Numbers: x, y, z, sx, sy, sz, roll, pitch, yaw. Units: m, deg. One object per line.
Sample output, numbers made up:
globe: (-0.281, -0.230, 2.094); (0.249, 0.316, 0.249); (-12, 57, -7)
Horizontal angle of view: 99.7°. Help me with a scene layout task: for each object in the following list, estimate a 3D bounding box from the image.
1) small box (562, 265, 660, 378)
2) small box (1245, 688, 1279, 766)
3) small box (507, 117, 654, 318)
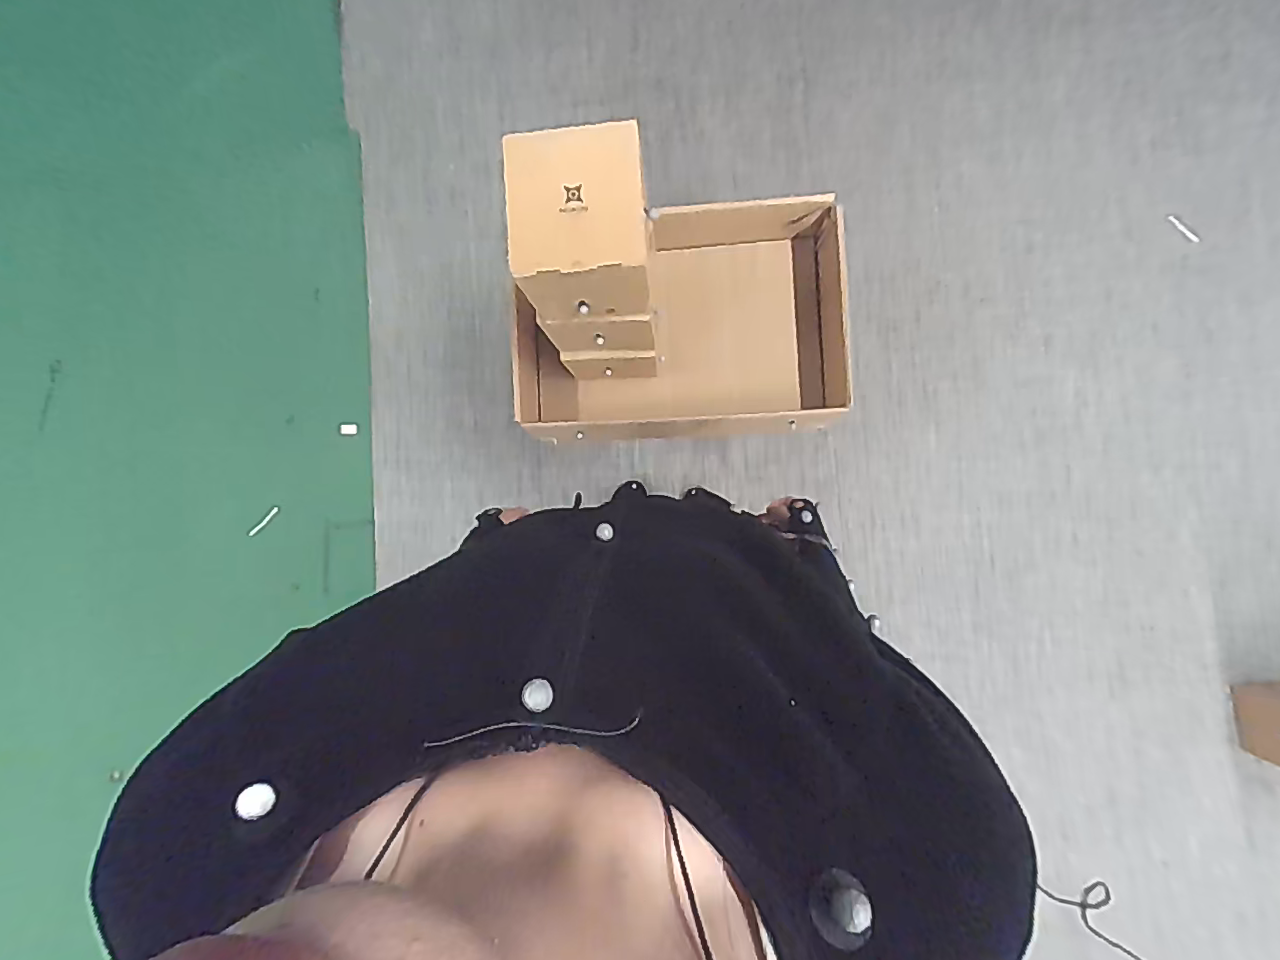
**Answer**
small box: (-0.049, -0.297, 1.041); (0.179, 0.176, 0.168); (-1, 87, 4)
small box: (1.615, 0.603, 1.288); (0.168, 0.176, 0.179); (-5, 87, 5)
small box: (-0.070, -0.333, 0.716); (0.168, 0.176, 0.179); (-4, 88, 4)
